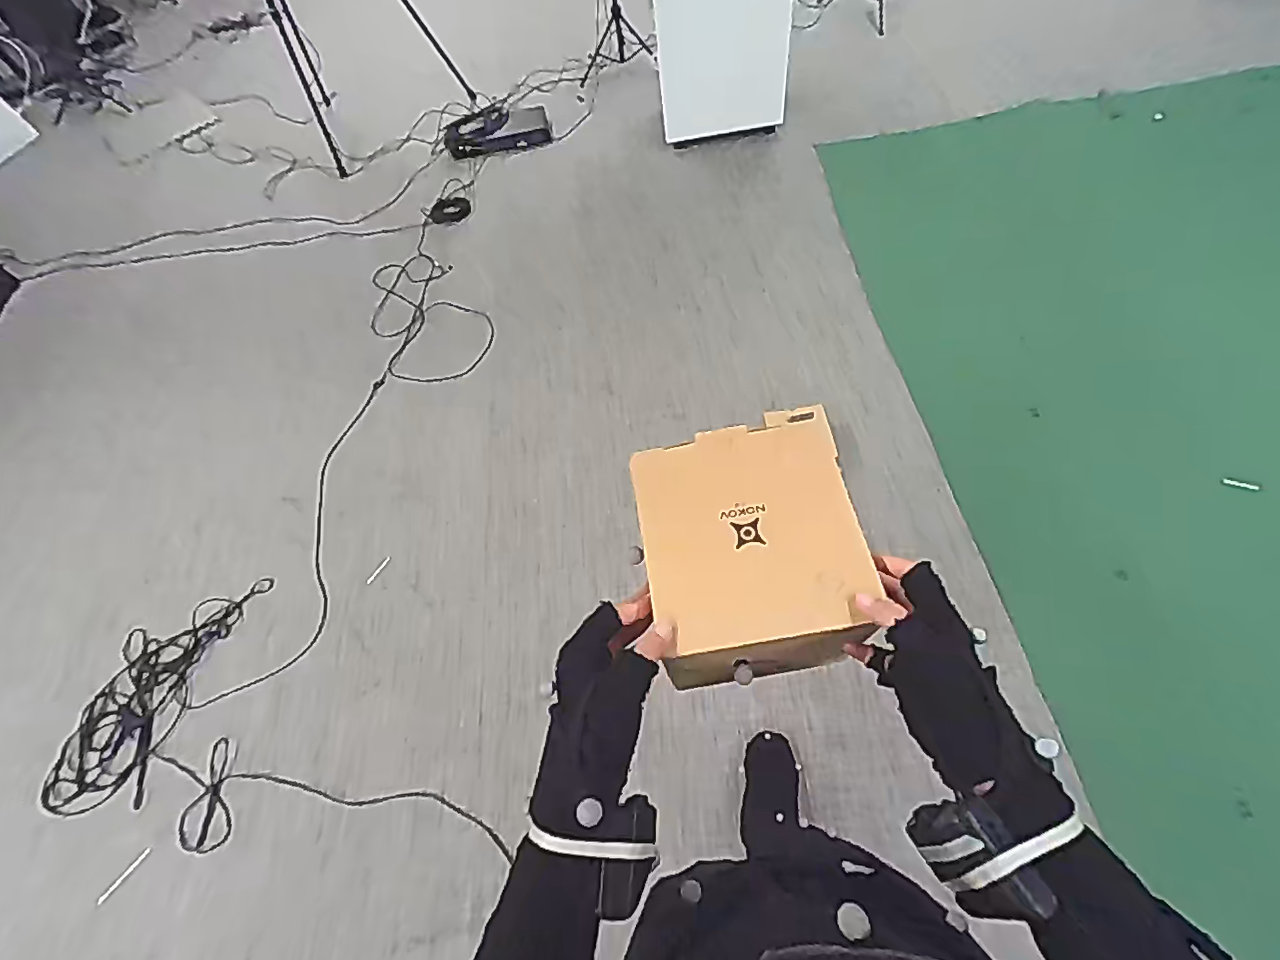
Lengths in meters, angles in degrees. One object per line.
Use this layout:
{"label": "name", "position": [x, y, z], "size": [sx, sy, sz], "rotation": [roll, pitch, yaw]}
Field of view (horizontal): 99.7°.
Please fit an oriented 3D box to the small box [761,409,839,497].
{"label": "small box", "position": [0.443, -0.074, 1.532], "size": [0.168, 0.176, 0.179], "rotation": [-8, 61, 3]}
